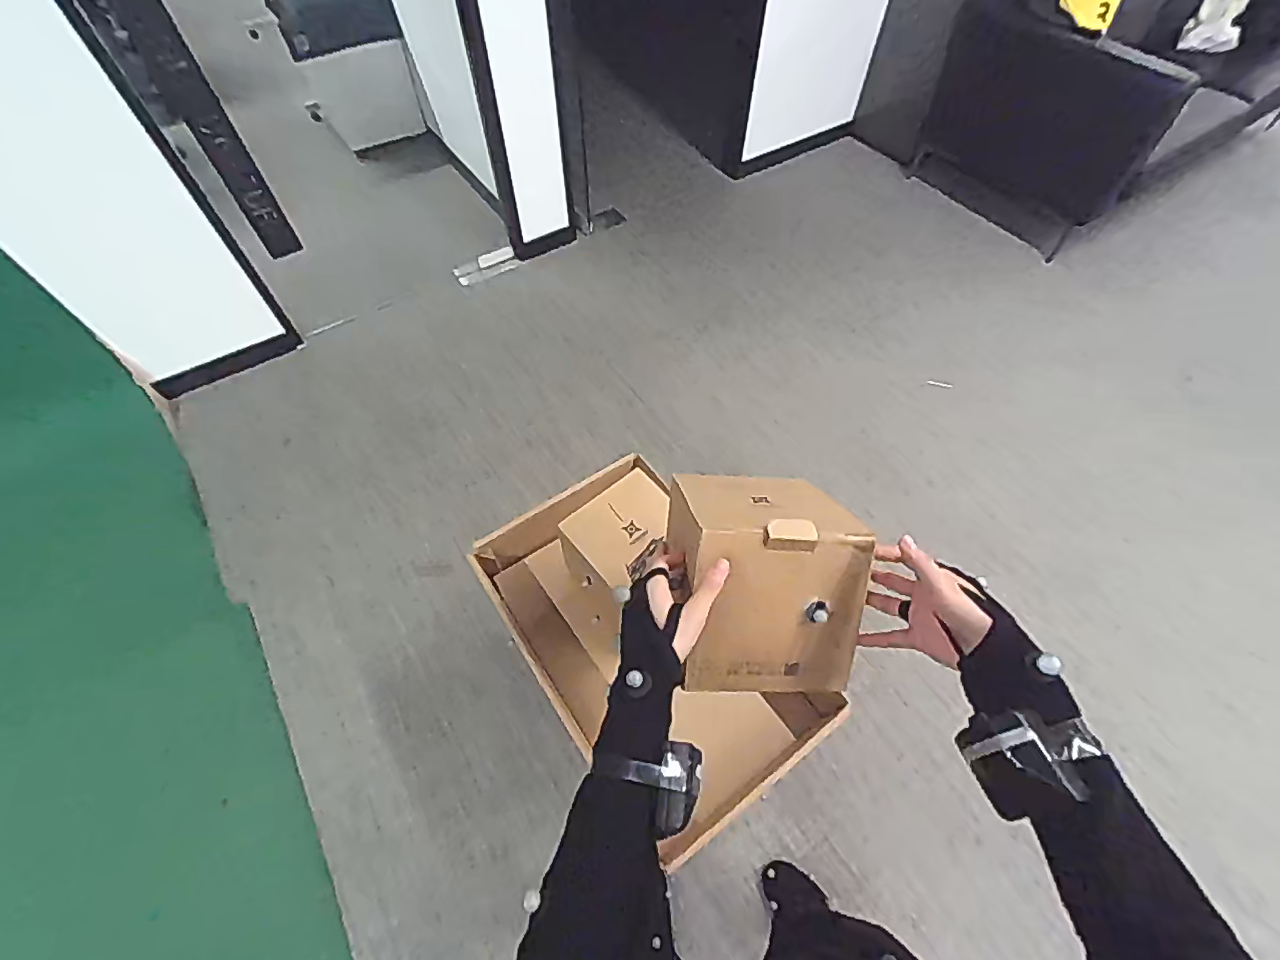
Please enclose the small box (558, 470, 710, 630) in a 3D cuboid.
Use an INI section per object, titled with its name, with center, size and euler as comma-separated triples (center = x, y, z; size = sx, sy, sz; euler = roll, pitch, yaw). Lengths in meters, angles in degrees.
[small box]
center = -0.012, 0.122, 0.882
size = 0.168, 0.176, 0.179
euler = -35, 66, -21
